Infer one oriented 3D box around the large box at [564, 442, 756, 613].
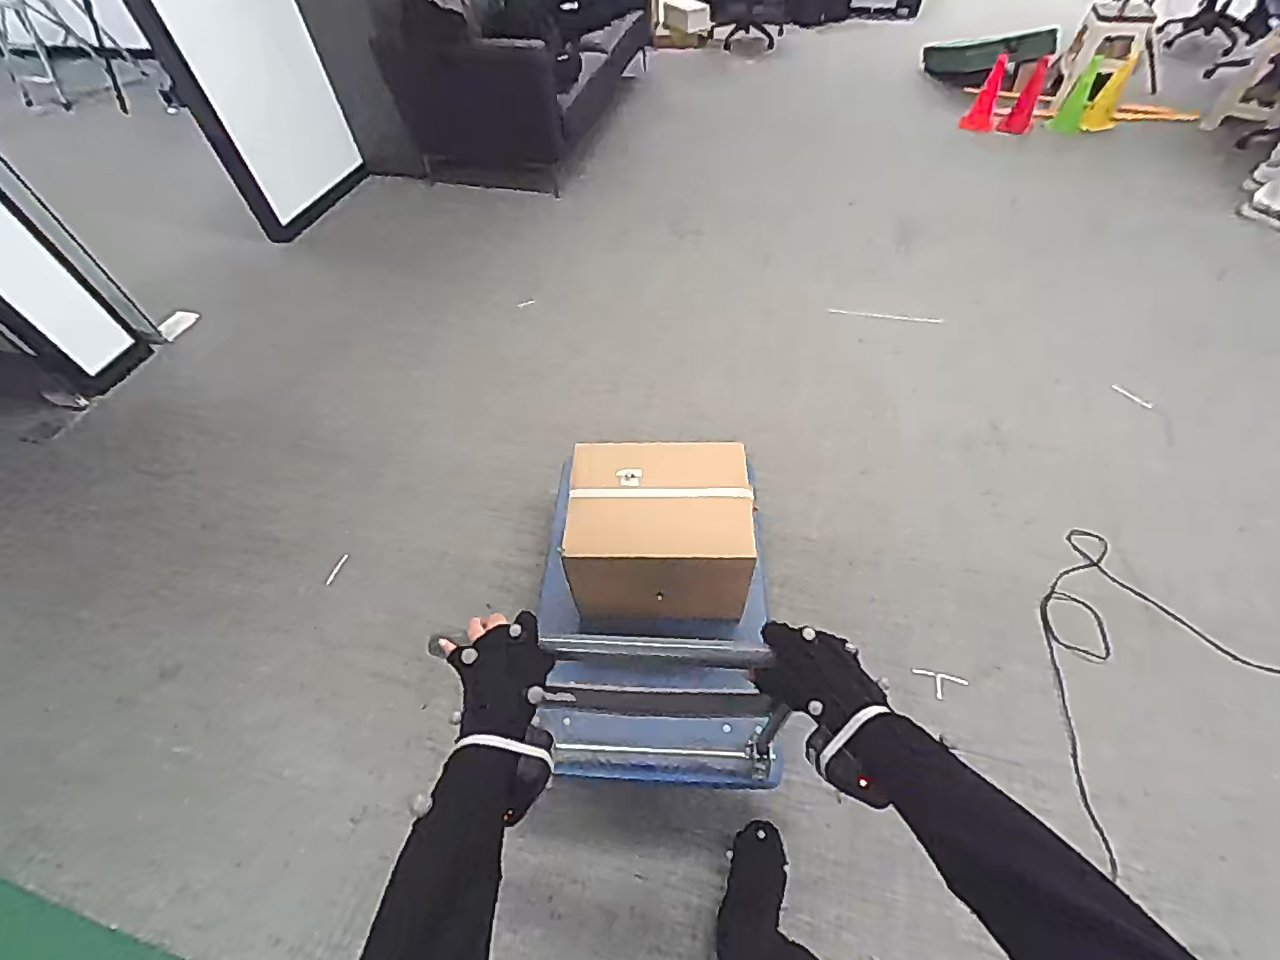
[{"bbox_3d":[0.051,0.125,1.323,0.408,0.320,0.320,-1,53,3],"label":"large box"}]
